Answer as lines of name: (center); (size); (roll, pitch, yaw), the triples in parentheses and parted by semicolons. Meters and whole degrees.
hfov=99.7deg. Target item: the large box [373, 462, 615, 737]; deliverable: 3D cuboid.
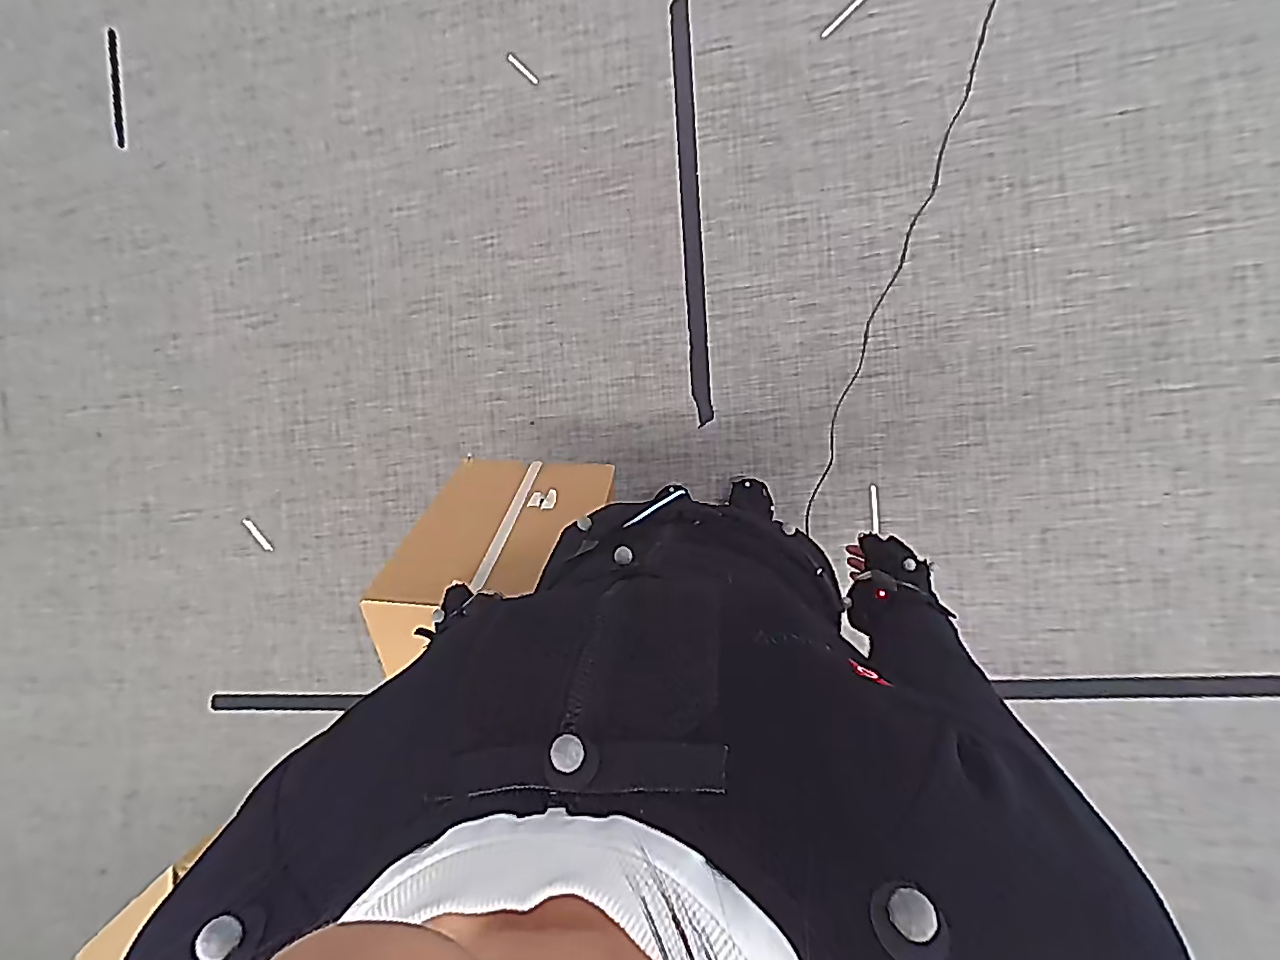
large box: (-0.222, 0.203, 1.007); (0.320, 0.408, 0.320); (4, 122, 4)
